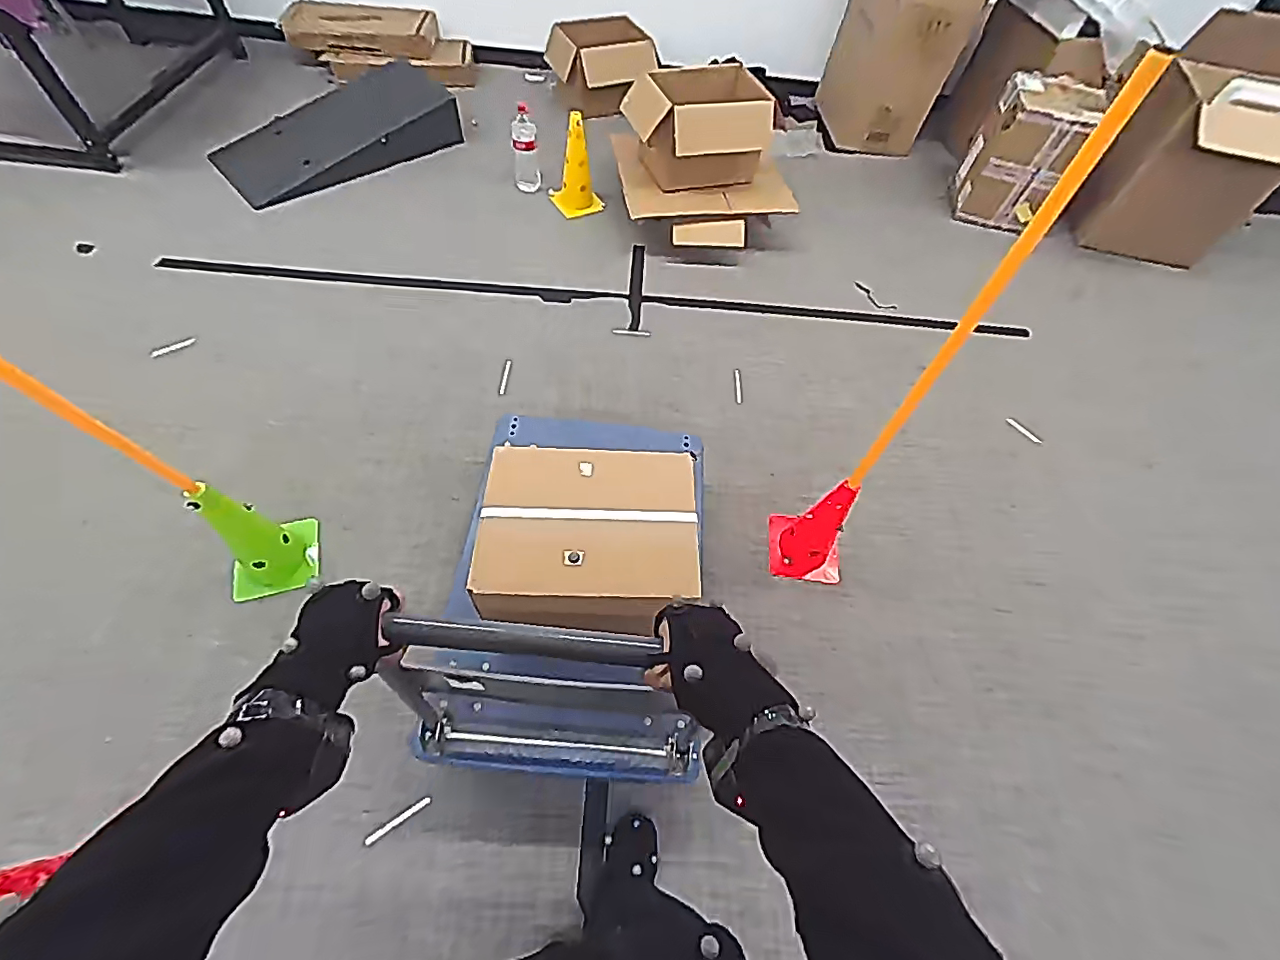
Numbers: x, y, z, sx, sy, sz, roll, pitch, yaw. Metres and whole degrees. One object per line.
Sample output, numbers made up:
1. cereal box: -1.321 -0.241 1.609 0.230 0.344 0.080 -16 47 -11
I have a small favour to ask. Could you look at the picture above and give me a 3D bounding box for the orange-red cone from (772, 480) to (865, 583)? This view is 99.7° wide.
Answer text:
1. orange-red cone: 0.497 0.105 1.413 0.199 0.360 0.198 10 58 0
